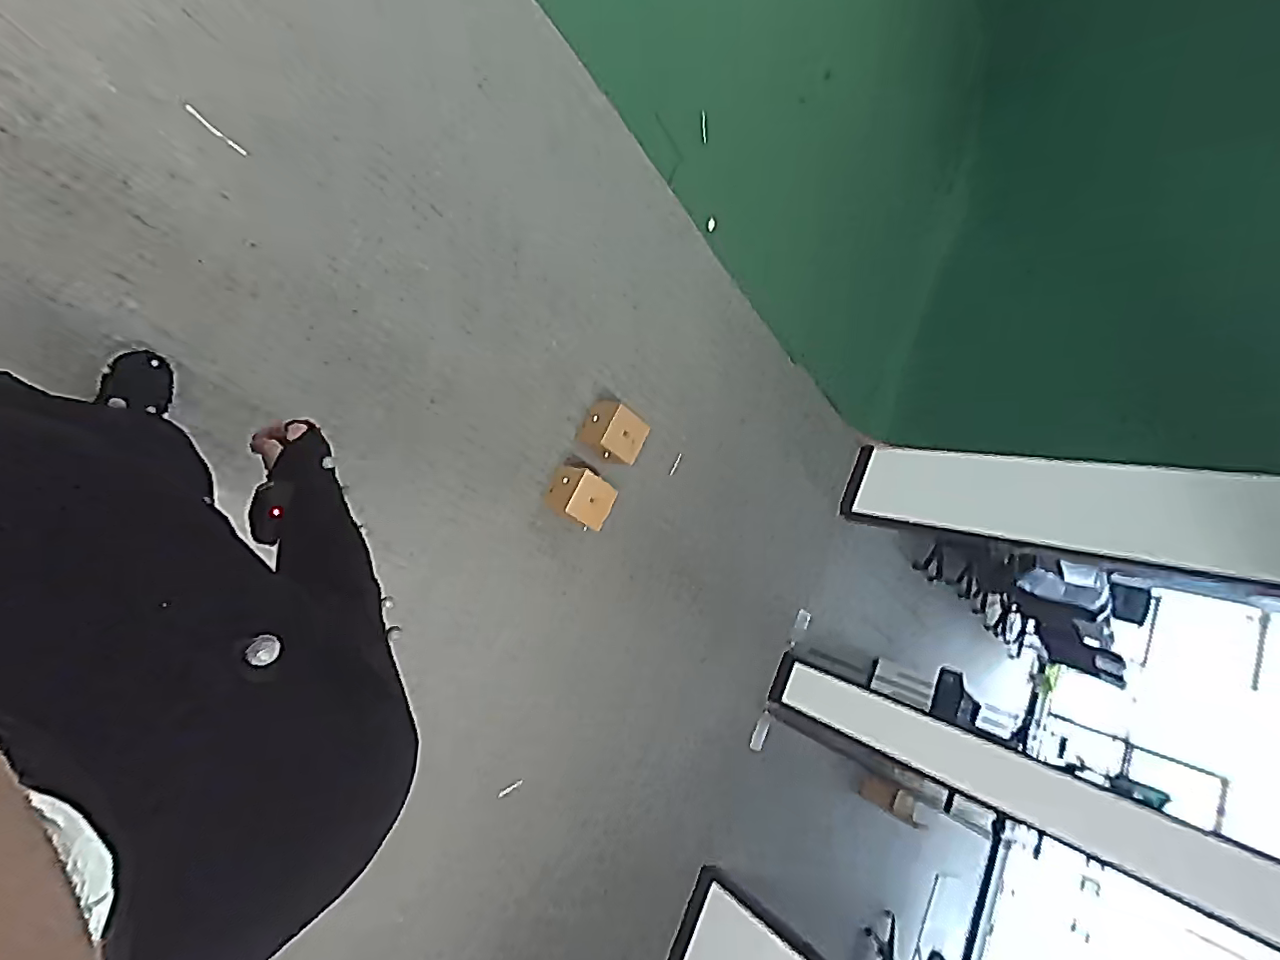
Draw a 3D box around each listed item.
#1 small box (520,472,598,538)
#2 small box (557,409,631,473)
[{"bbox_3d":[-0.291,0.084,1.919,0.179,0.176,0.168,41,70,-41],"label":"small box"},{"bbox_3d":[-0.171,-0.146,1.983,0.179,0.176,0.168,41,70,-41],"label":"small box"}]
